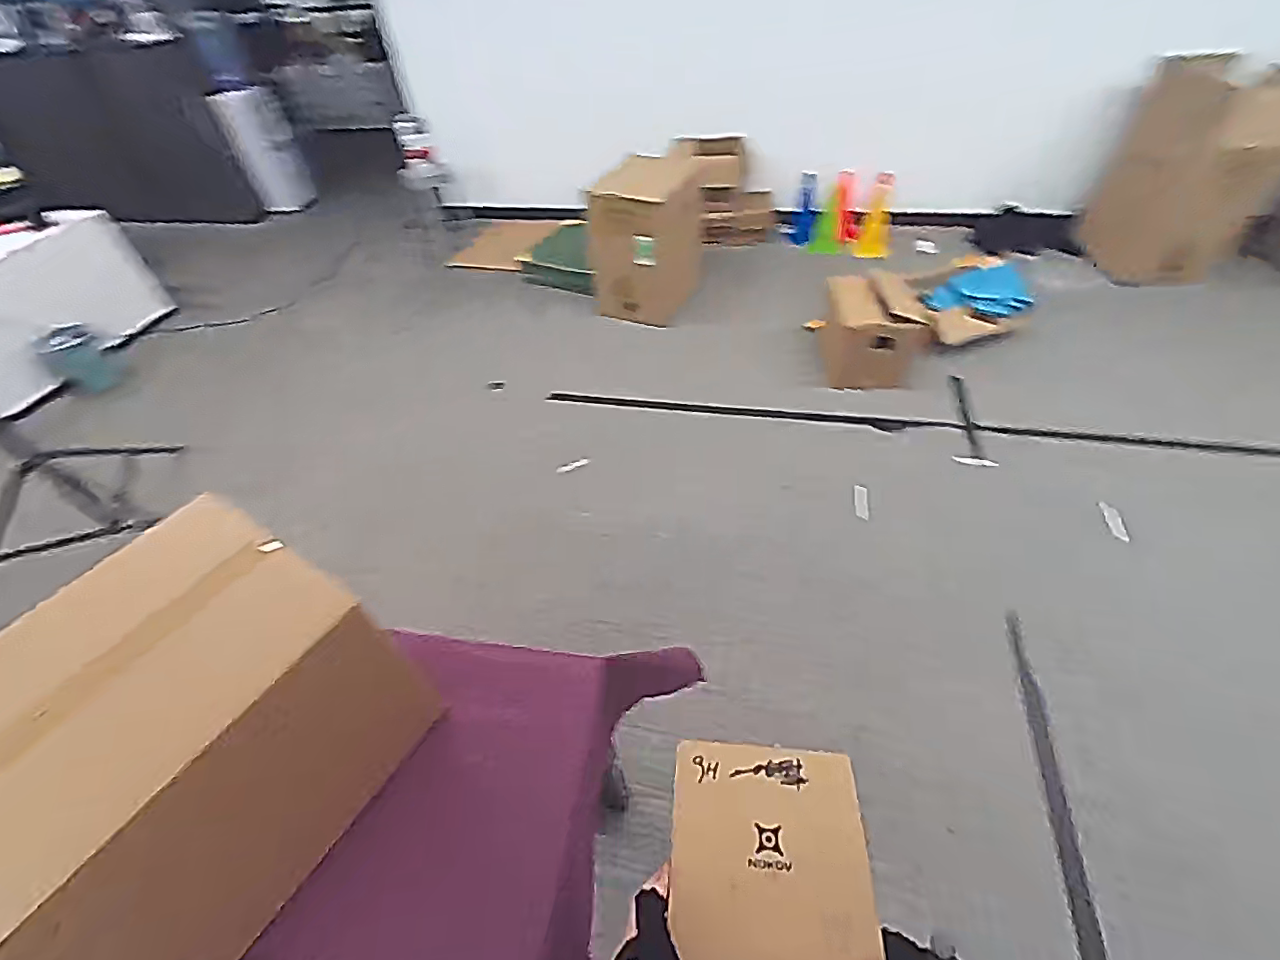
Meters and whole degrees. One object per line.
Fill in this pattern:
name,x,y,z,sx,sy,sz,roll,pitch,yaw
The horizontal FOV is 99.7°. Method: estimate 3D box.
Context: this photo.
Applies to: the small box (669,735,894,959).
small box,0.119,0.366,0.501,0.168,0.176,0.179,2,42,8
